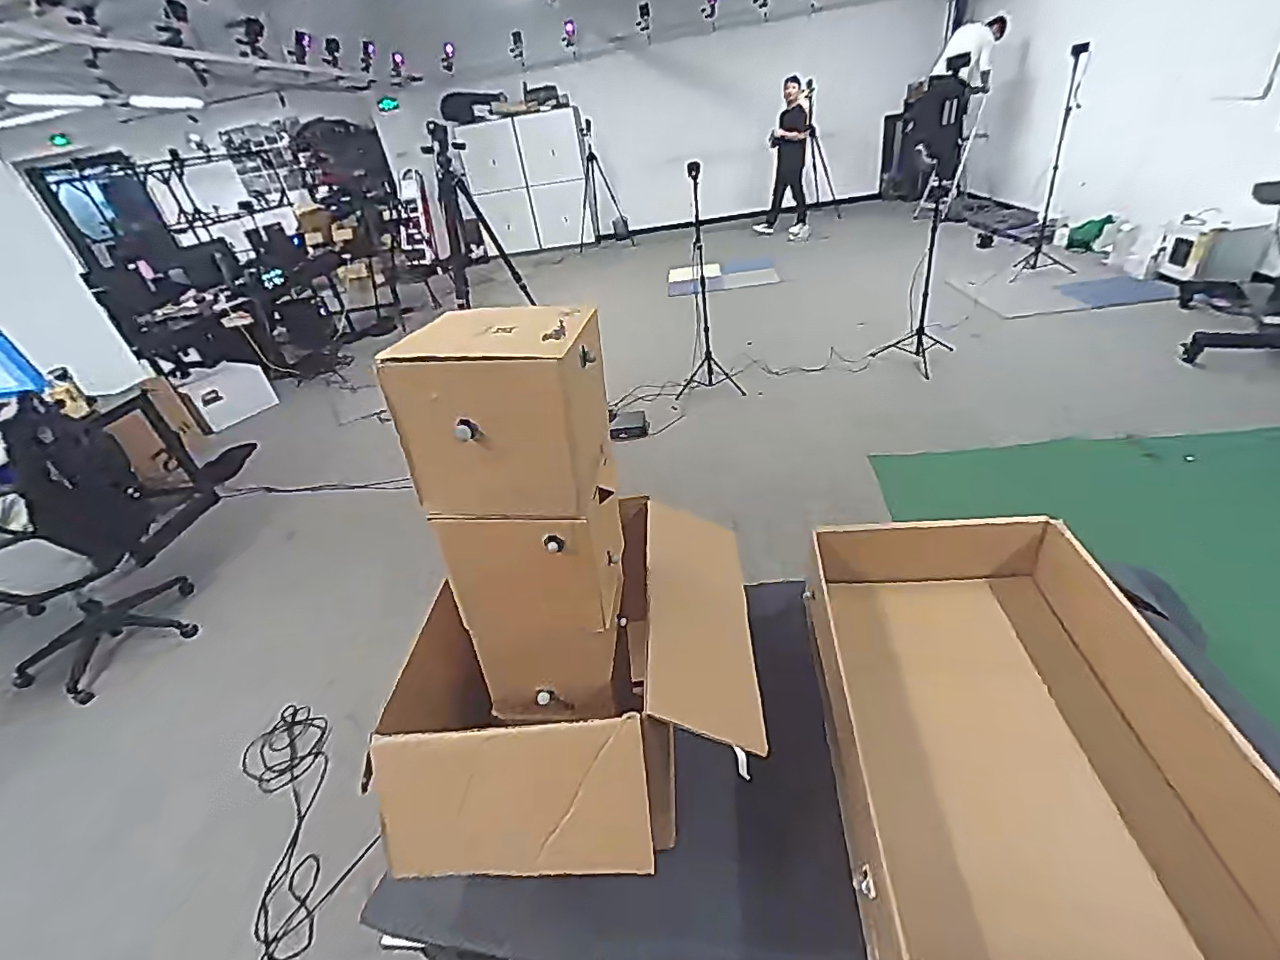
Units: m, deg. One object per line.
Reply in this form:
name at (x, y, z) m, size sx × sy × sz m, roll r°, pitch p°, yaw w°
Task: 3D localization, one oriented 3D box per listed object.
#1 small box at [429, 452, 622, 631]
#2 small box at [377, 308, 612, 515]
small box at (-0.122, 0.066, 0.659) m, size 0.179 × 0.176 × 0.168 m, roll 0°, pitch 32°, yaw 6°
small box at (-0.134, -0.074, 0.575) m, size 0.179 × 0.176 × 0.168 m, roll 0°, pitch 32°, yaw 7°
